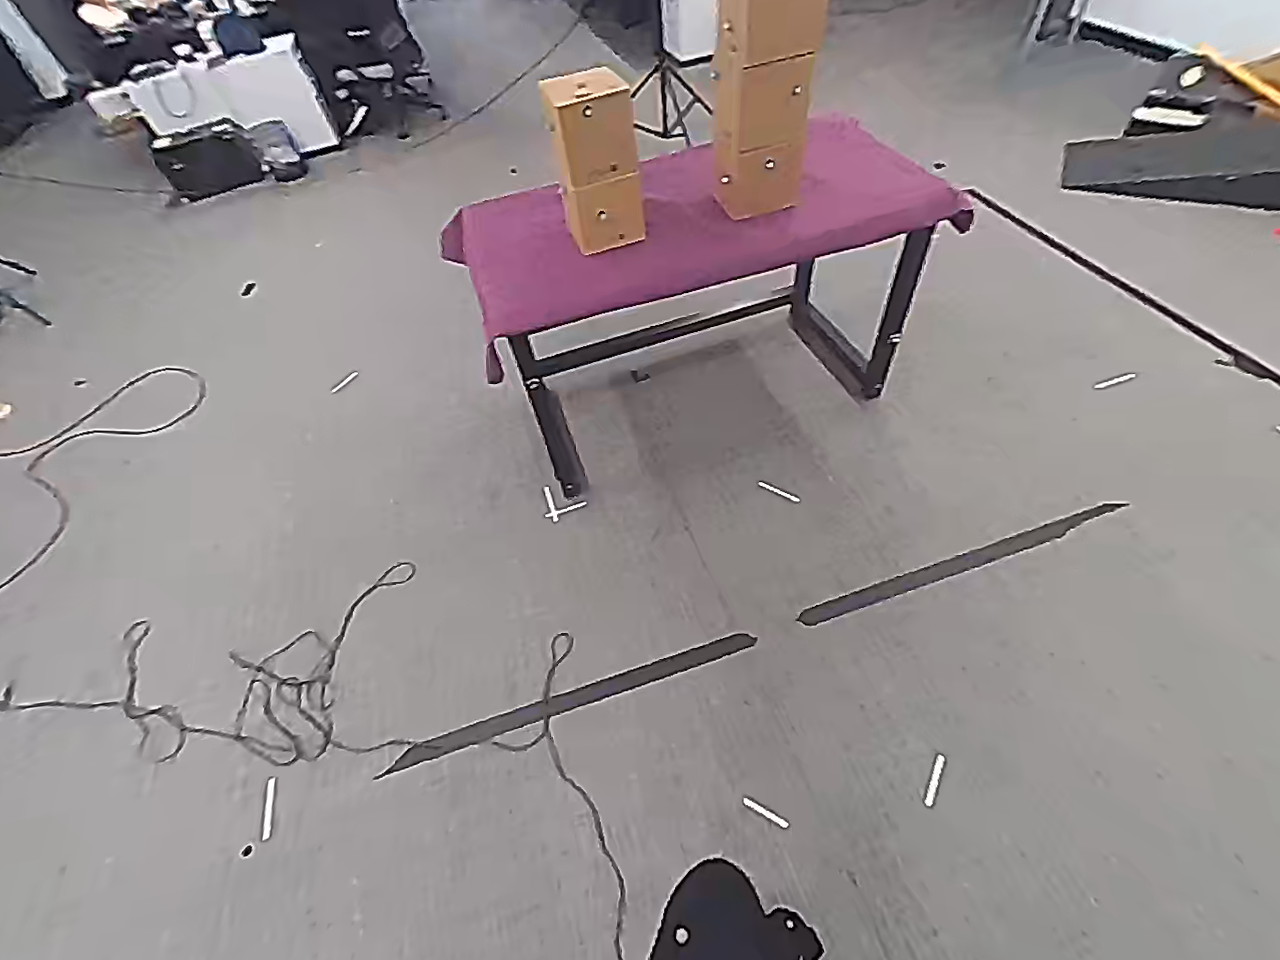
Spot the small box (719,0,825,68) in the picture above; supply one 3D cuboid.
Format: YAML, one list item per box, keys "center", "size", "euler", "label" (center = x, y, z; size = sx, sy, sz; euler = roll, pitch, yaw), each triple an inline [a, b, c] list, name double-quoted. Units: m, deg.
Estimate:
- center: [0.271, -0.992, 1.121]
  size: [0.179, 0.176, 0.168]
  euler: [-17, 53, -5]
  label: "small box"

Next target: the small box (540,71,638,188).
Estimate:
- center: [-0.114, -0.801, 1.239]
  size: [0.168, 0.176, 0.179]
  euler: [-20, 52, -7]
  label: "small box"

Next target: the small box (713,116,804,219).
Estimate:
- center: [0.297, -0.795, 1.384]
  size: [0.179, 0.176, 0.168]
  euler: [-16, 53, -5]
  label: "small box"

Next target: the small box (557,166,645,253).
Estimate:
- center: [-0.094, -0.697, 1.365]
  size: [0.168, 0.176, 0.179]
  euler: [-19, 52, -6]
  label: "small box"
